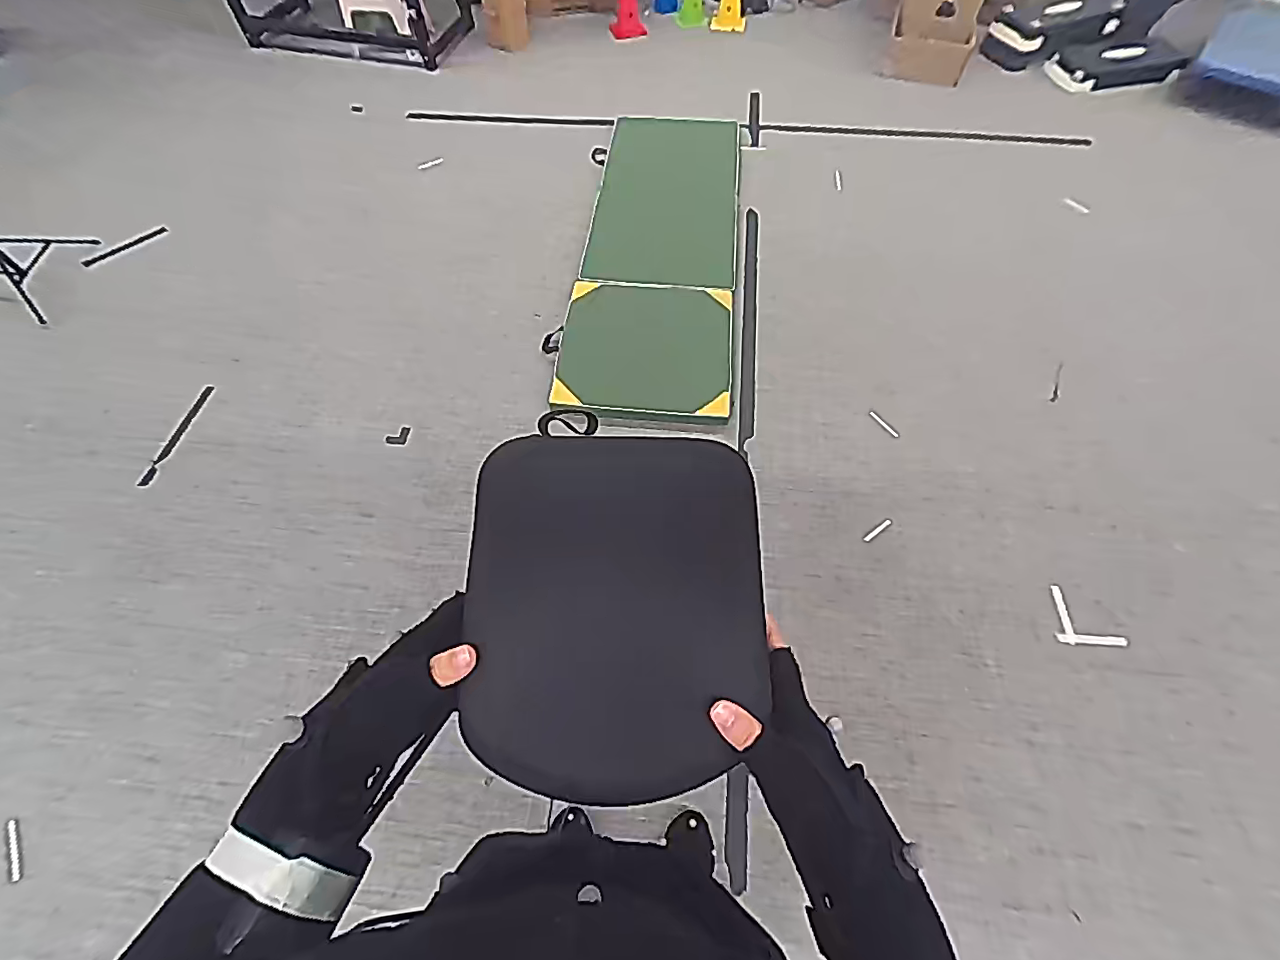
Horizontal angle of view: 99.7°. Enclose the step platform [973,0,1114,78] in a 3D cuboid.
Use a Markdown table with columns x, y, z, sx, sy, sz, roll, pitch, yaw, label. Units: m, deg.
| x | y | z | sx | sy | sz | roll | pitch | yaw | label |
| --- | --- | --- | --- | --- | --- | --- | --- | --- | --- |
| 2.224 | -2.443 | 2.979 | 0.684 | 0.204 | 0.286 | -21 | 62 | -11 | step platform |
